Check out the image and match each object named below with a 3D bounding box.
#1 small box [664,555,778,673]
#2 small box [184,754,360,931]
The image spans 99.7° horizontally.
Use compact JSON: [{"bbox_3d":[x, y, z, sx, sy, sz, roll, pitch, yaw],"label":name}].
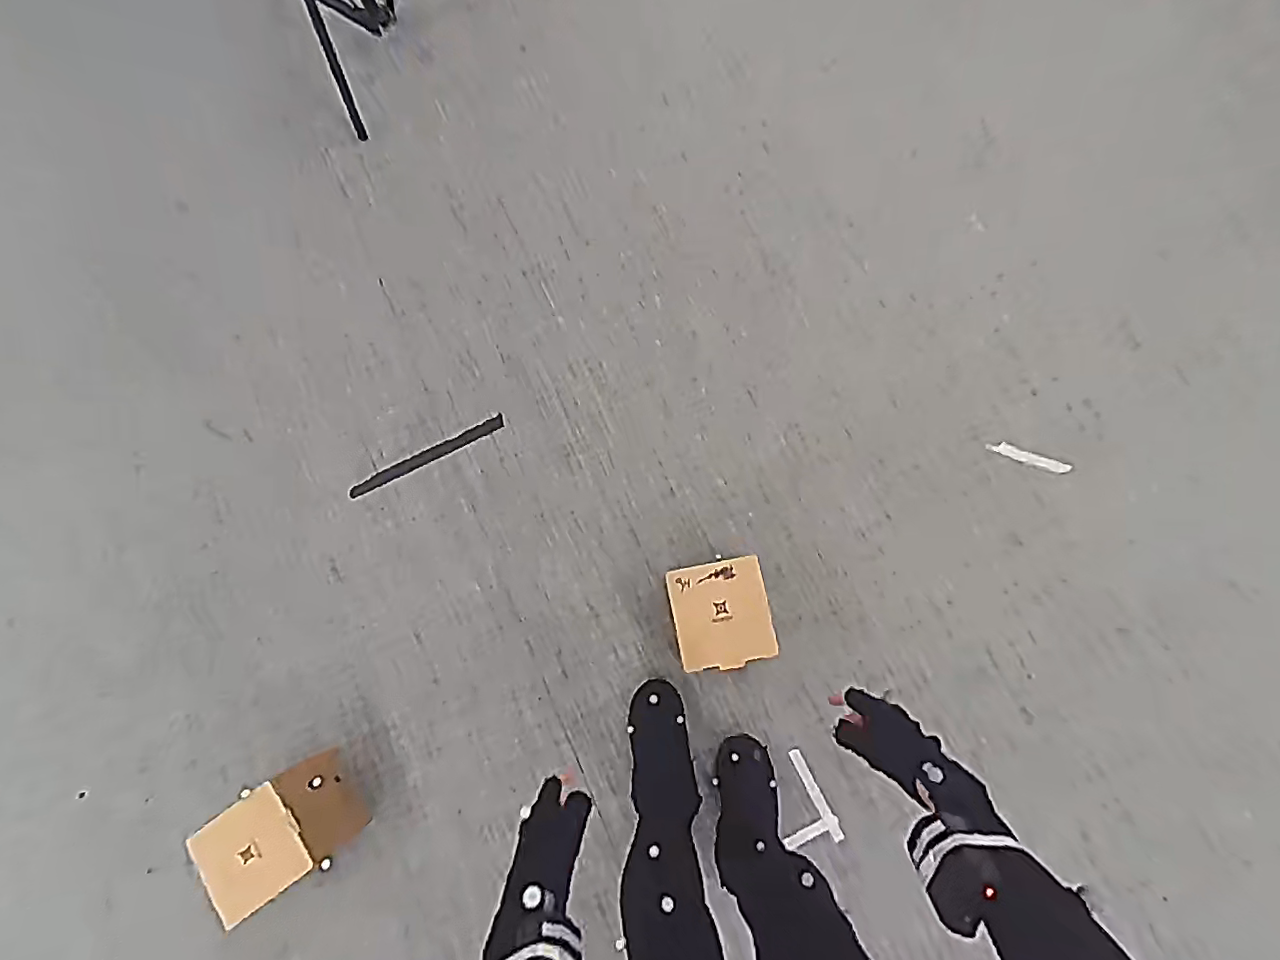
[{"bbox_3d":[0.141,0.238,0.995,0.168,0.176,0.179,-11,80,1],"label":"small box"},{"bbox_3d":[-0.641,0.630,0.970,0.179,0.176,0.168,-37,78,-3],"label":"small box"}]
